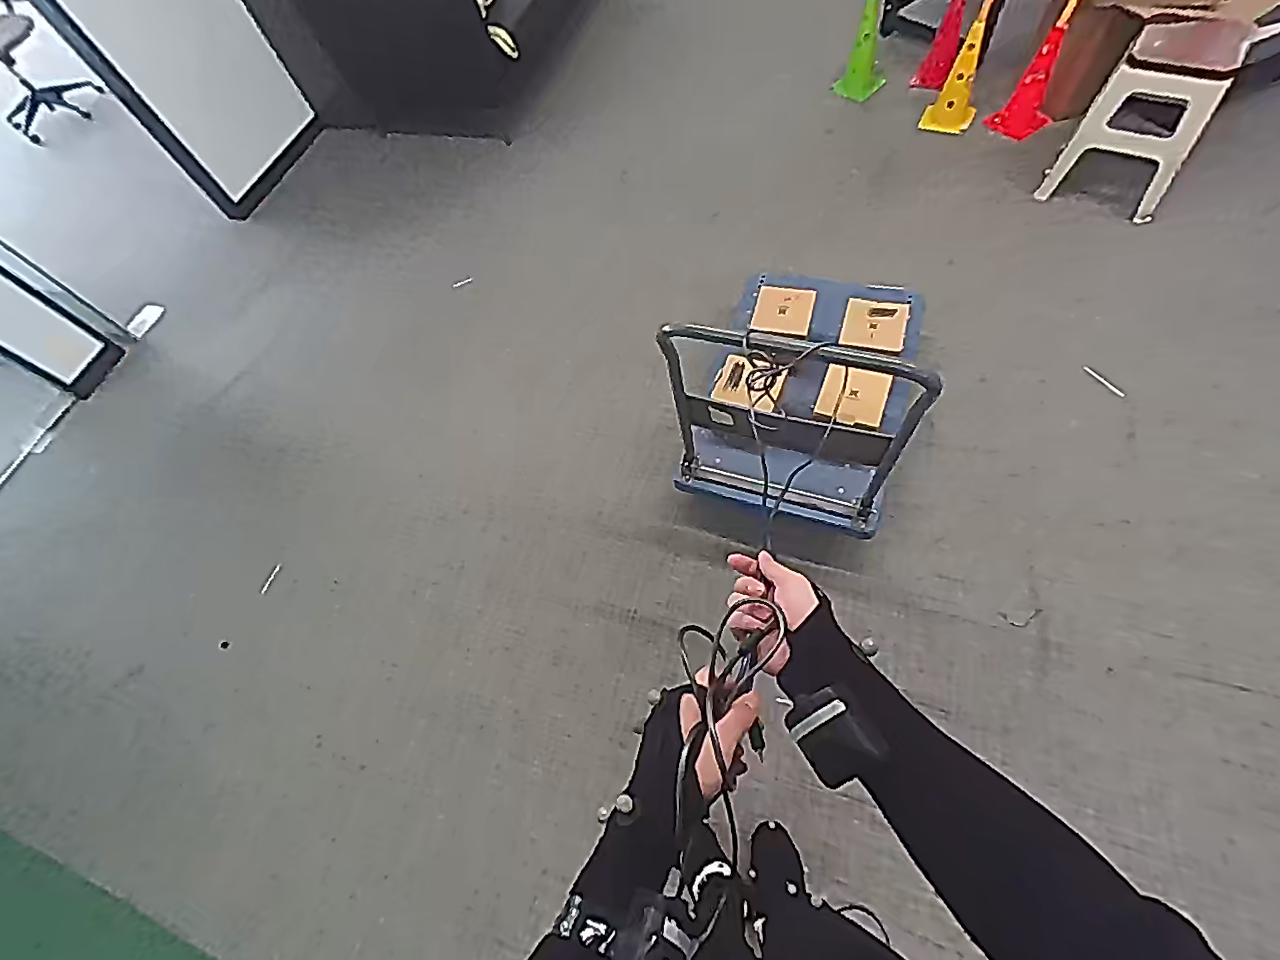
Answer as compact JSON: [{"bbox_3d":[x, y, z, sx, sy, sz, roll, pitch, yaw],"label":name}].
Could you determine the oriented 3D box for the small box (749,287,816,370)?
[{"bbox_3d":[0.434,-0.461,1.655,0.168,0.176,0.179,12,66,16],"label":"small box"}]

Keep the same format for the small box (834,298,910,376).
[{"bbox_3d":[0.669,-0.398,1.577,0.168,0.176,0.179,13,67,18],"label":"small box"}]

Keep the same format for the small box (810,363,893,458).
[{"bbox_3d":[0.575,-0.187,1.489,0.168,0.176,0.179,17,69,18],"label":"small box"}]
